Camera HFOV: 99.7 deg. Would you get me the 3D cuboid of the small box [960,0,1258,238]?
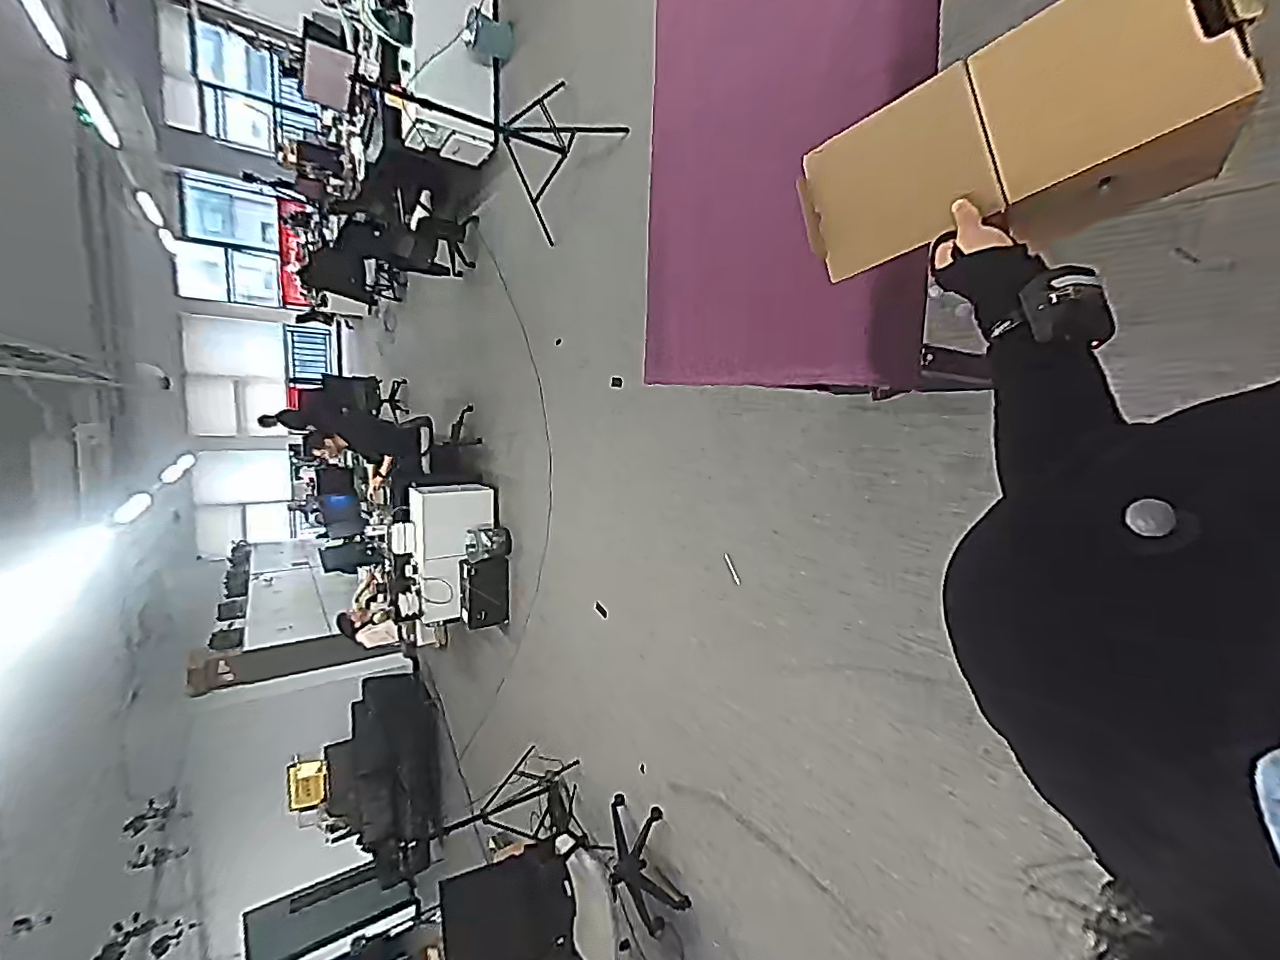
[{"bbox_3d":[0.449,-0.372,0.539,0.179,0.176,0.168,-16,84,39],"label":"small box"}]
